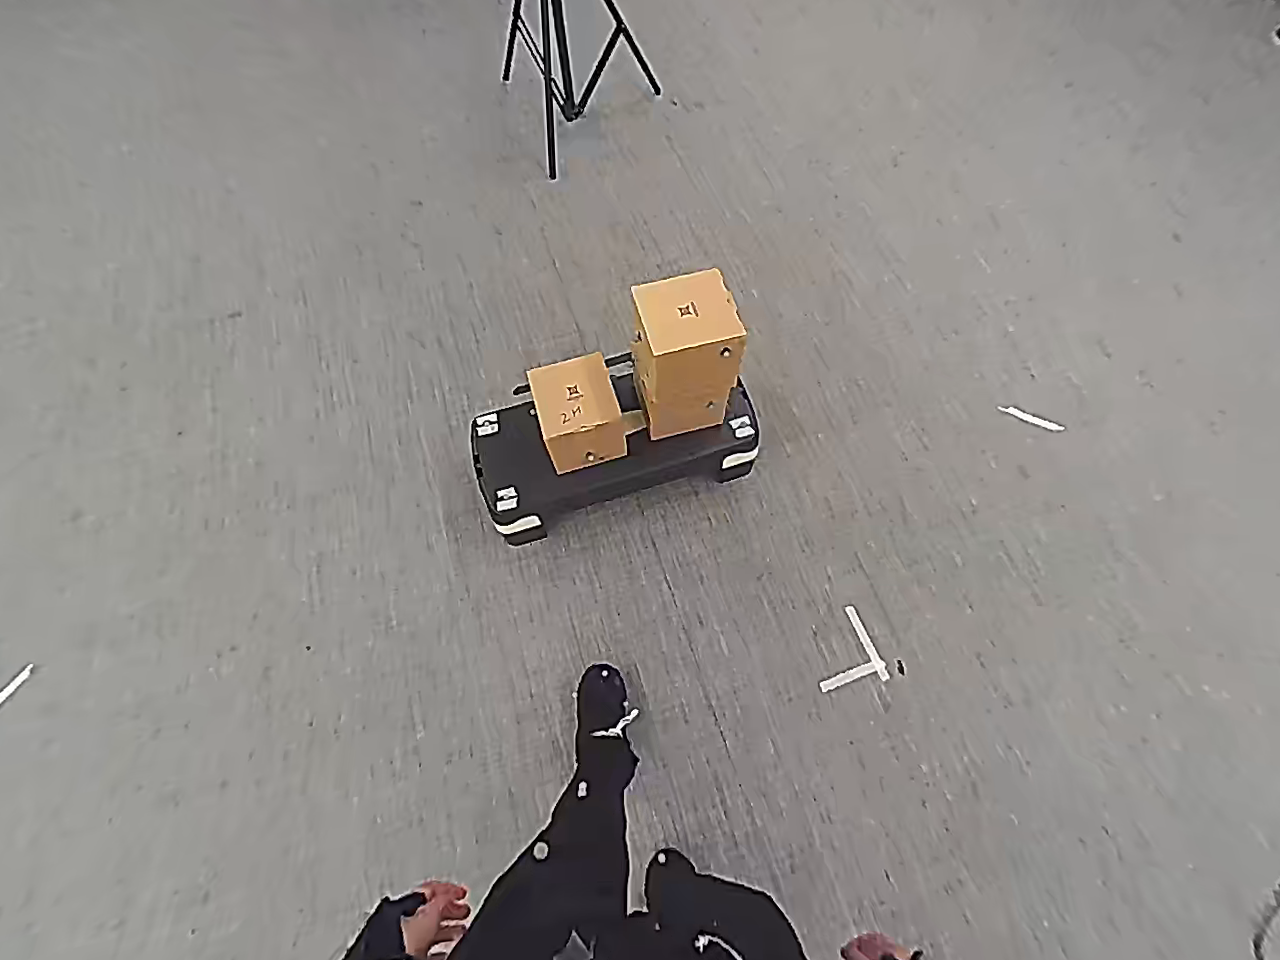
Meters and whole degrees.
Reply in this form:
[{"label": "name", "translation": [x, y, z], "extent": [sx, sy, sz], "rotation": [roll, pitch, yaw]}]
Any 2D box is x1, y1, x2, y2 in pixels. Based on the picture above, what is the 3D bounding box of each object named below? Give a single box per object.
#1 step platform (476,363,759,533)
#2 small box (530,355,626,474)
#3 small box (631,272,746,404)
[{"label": "step platform", "translation": [-0.053, -0.108, 1.358], "extent": [0.684, 0.204, 0.286], "rotation": [-18, 66, -5]}, {"label": "small box", "translation": [-0.132, -0.138, 1.184], "extent": [0.168, 0.176, 0.179], "rotation": [-16, 67, -5]}, {"label": "small box", "translation": [0.089, -0.270, 1.058], "extent": [0.179, 0.176, 0.168], "rotation": [-14, 67, -5]}]
